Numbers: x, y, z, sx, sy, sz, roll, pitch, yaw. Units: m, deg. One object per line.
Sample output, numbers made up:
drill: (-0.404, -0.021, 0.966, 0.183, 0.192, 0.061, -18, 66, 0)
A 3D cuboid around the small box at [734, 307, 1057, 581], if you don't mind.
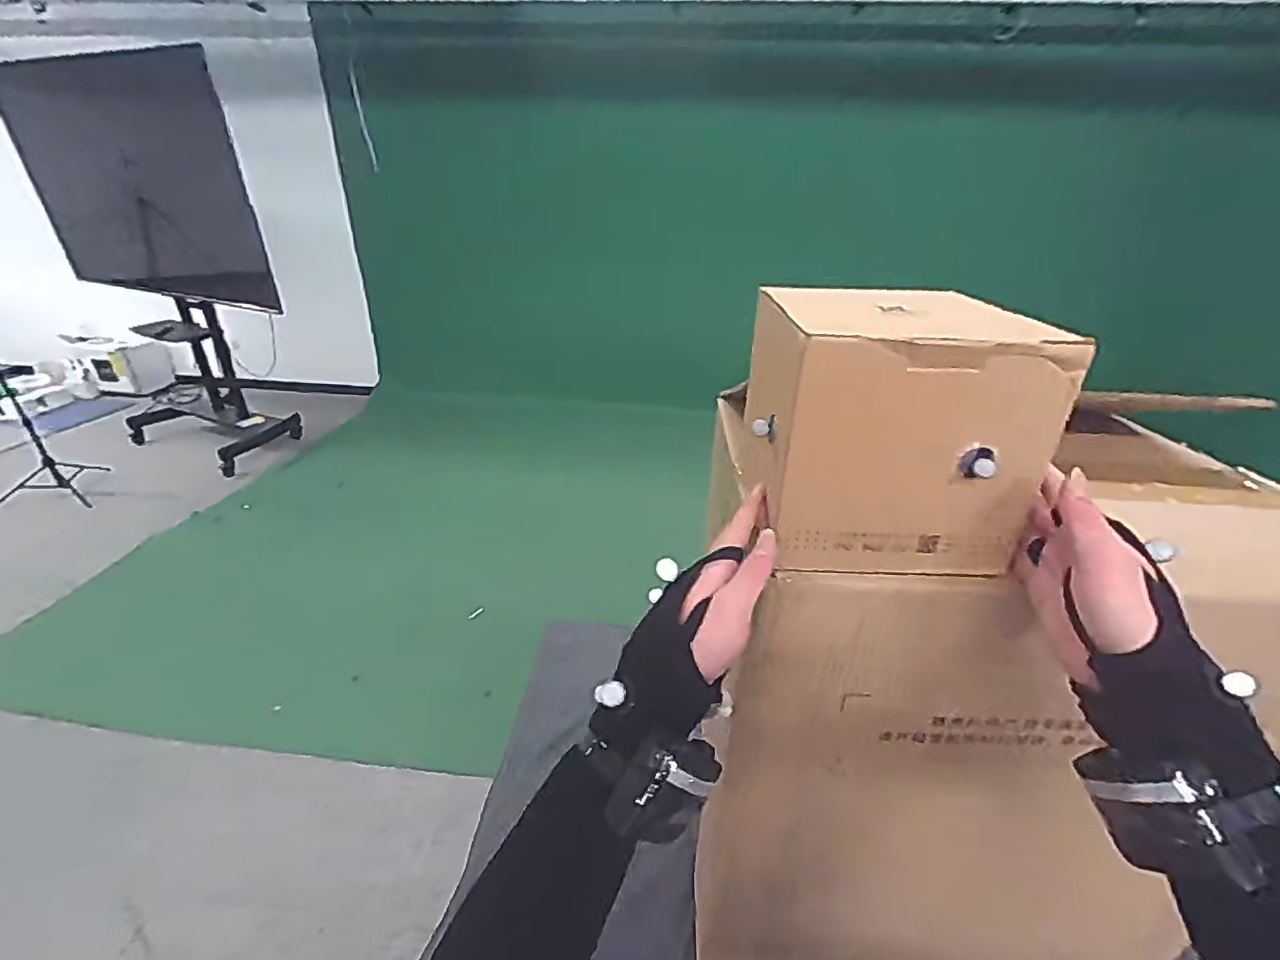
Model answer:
small box: (0.169, -0.036, 0.428, 0.168, 0.176, 0.179, 2, 27, 2)
